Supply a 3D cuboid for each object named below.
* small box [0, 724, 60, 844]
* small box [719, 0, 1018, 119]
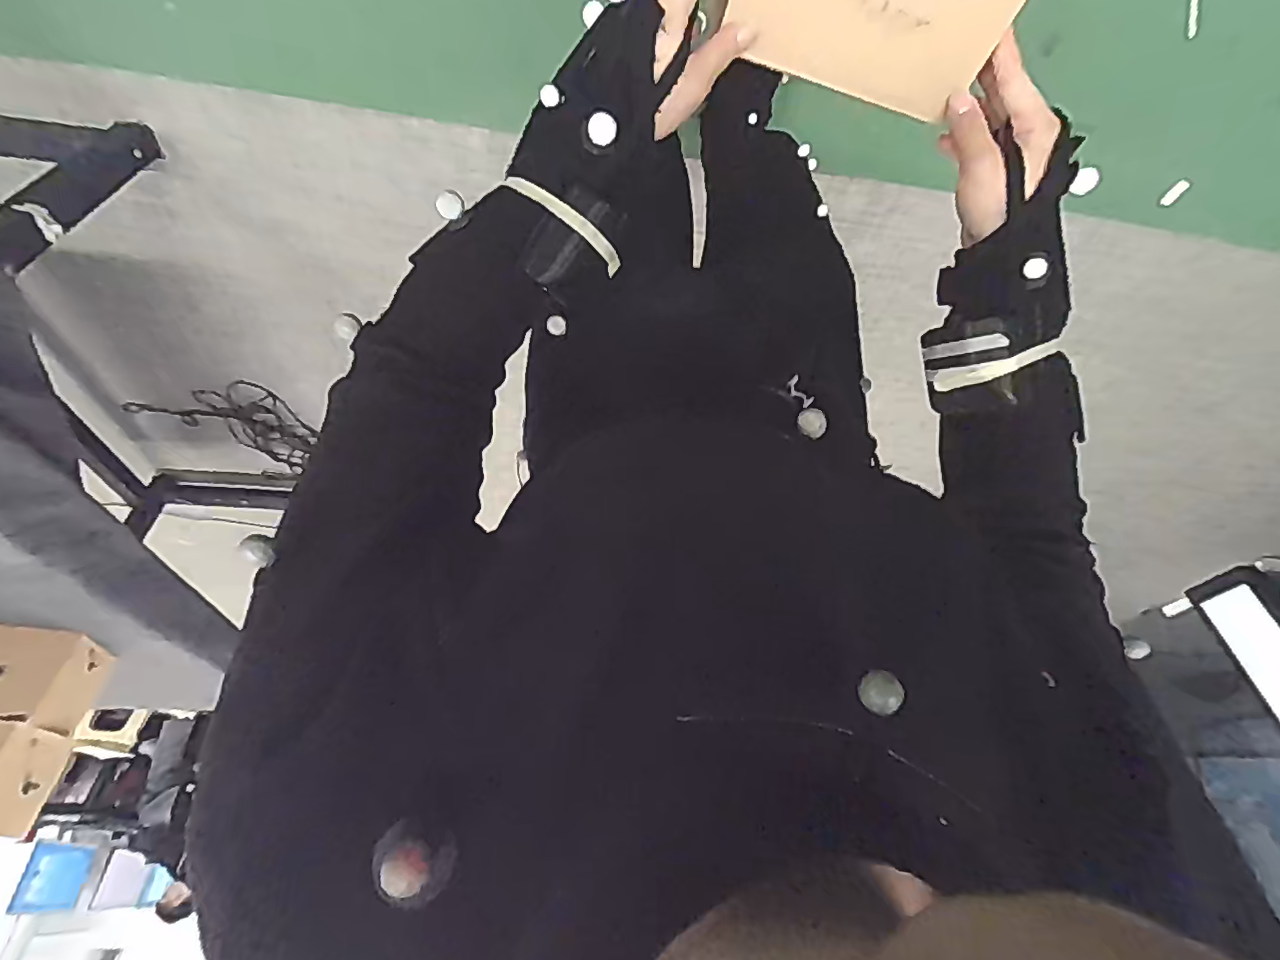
[{"bbox_3d":[-1.165,0.518,0.922,0.179,0.176,0.168,6,143,-9],"label":"small box"},{"bbox_3d":[0.150,-0.372,0.329,0.168,0.176,0.179,11,145,-10],"label":"small box"}]
